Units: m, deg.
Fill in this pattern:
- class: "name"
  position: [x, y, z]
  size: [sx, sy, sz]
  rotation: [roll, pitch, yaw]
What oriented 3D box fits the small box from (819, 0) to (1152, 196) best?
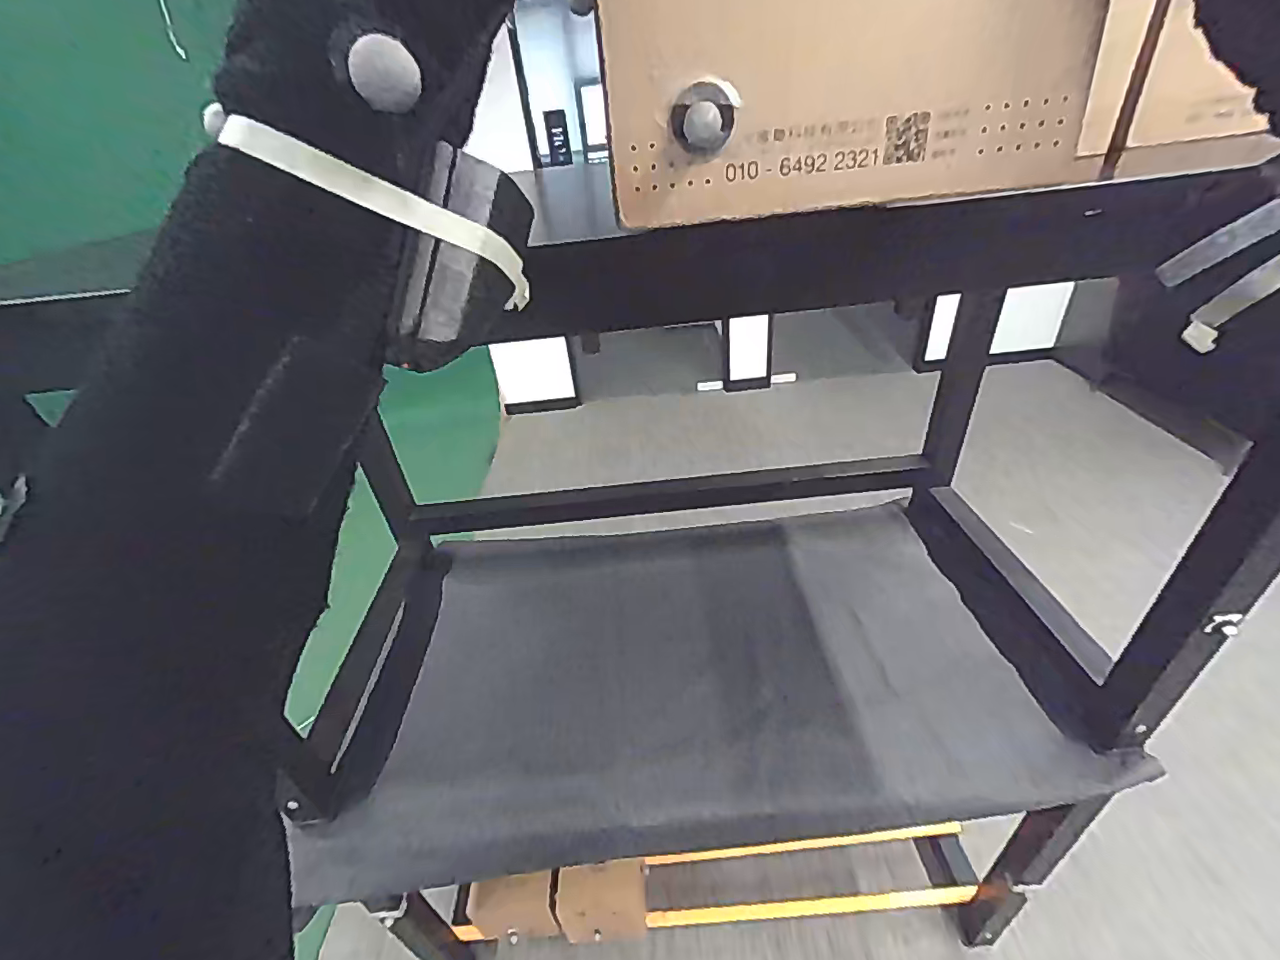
- class: "small box"
  position: [0.257, -0.338, 0.442]
  size: [0.168, 0.176, 0.179]
  rotation: [-7, 34, 0]
